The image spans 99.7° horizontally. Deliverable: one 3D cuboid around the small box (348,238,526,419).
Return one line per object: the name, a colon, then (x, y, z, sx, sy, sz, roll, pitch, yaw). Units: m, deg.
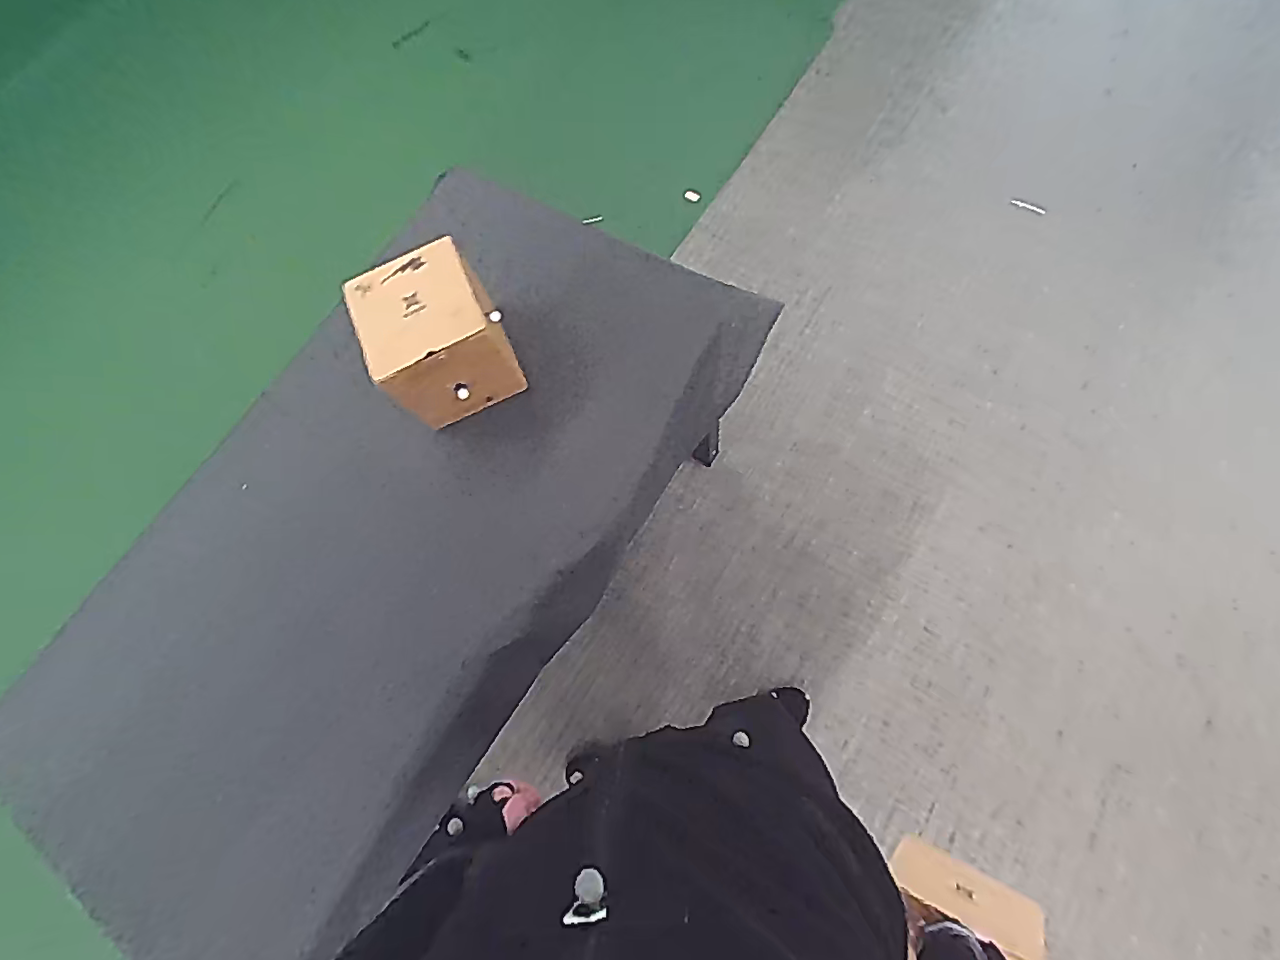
small box: (-0.291, -0.210, 0.807, 0.168, 0.176, 0.179, -25, 73, -1)
